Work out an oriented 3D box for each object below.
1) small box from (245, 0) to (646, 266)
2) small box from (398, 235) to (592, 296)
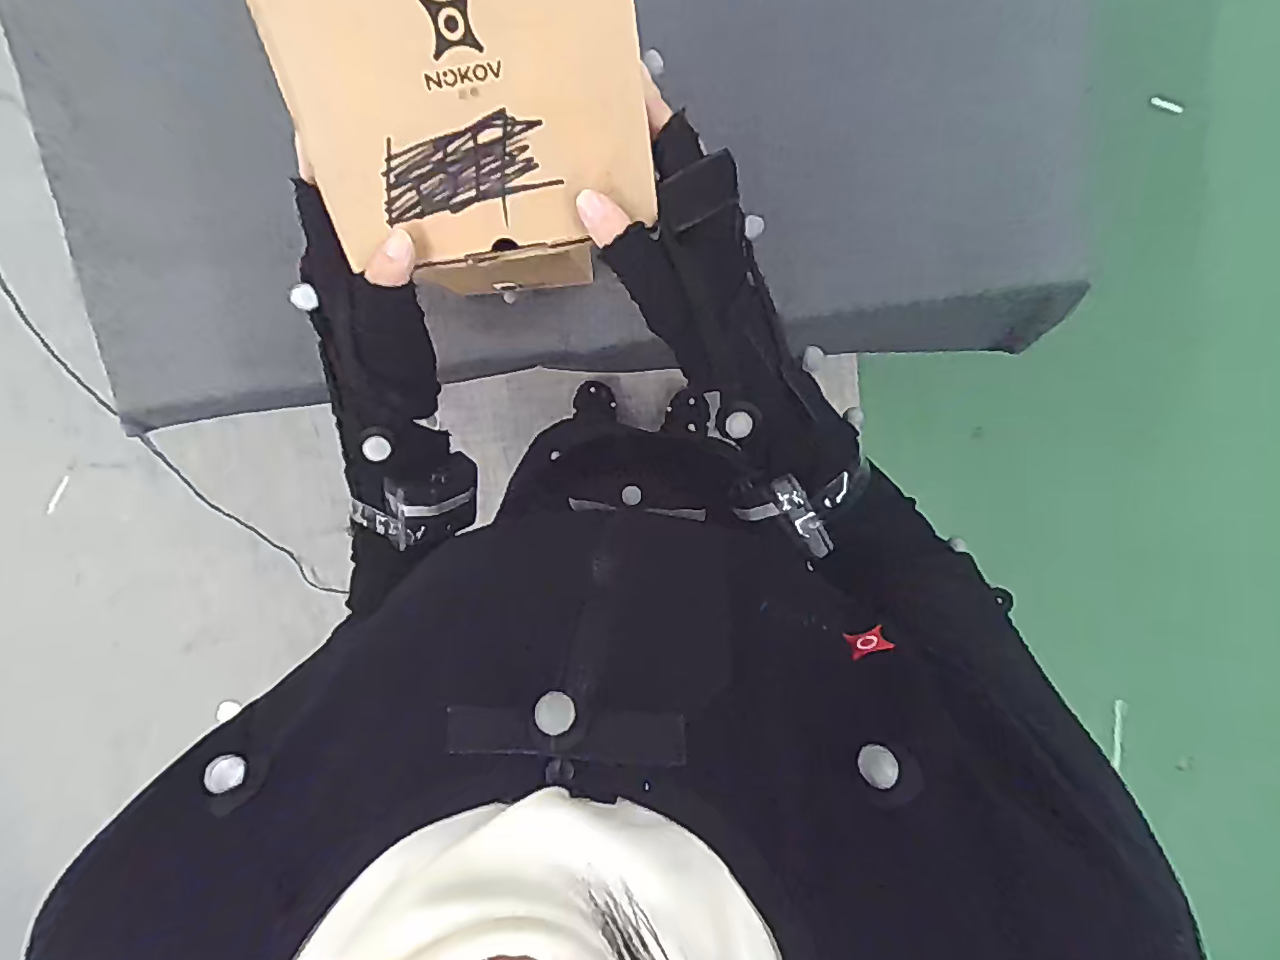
[{"bbox_3d":[-0.087,-0.236,0.309,0.168,0.176,0.179,-8,118,2],"label":"small box"},{"bbox_3d":[-0.151,-0.304,0.567,0.168,0.176,0.179,-5,101,6],"label":"small box"}]
